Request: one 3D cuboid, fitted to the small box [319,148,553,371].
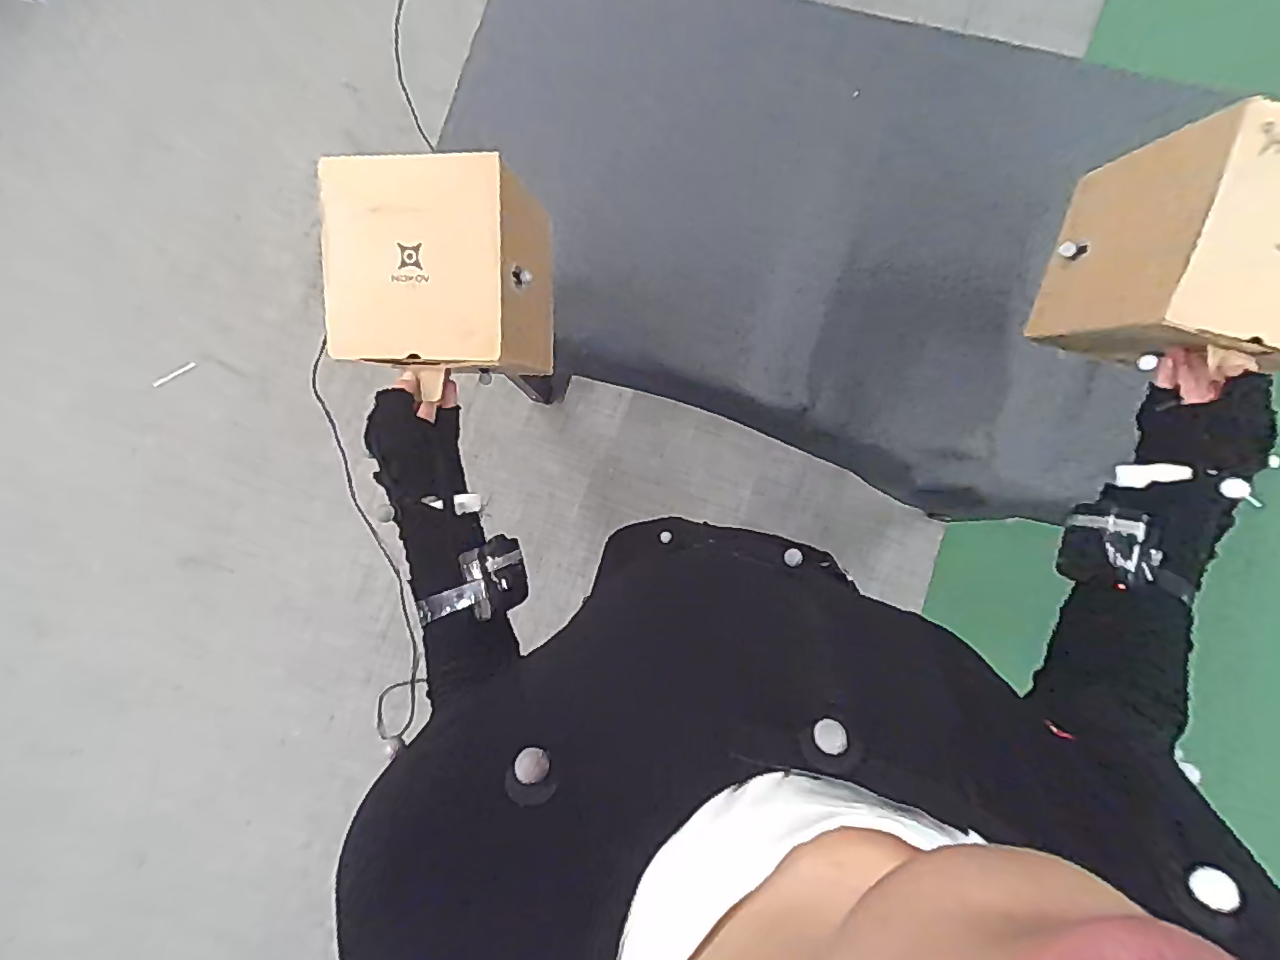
[{"bbox_3d":[-0.188,-0.204,0.545,0.168,0.176,0.179,2,97,5],"label":"small box"}]

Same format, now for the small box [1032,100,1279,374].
[{"bbox_3d":[0.521,-0.203,0.508,0.168,0.176,0.179,14,101,-3],"label":"small box"}]
